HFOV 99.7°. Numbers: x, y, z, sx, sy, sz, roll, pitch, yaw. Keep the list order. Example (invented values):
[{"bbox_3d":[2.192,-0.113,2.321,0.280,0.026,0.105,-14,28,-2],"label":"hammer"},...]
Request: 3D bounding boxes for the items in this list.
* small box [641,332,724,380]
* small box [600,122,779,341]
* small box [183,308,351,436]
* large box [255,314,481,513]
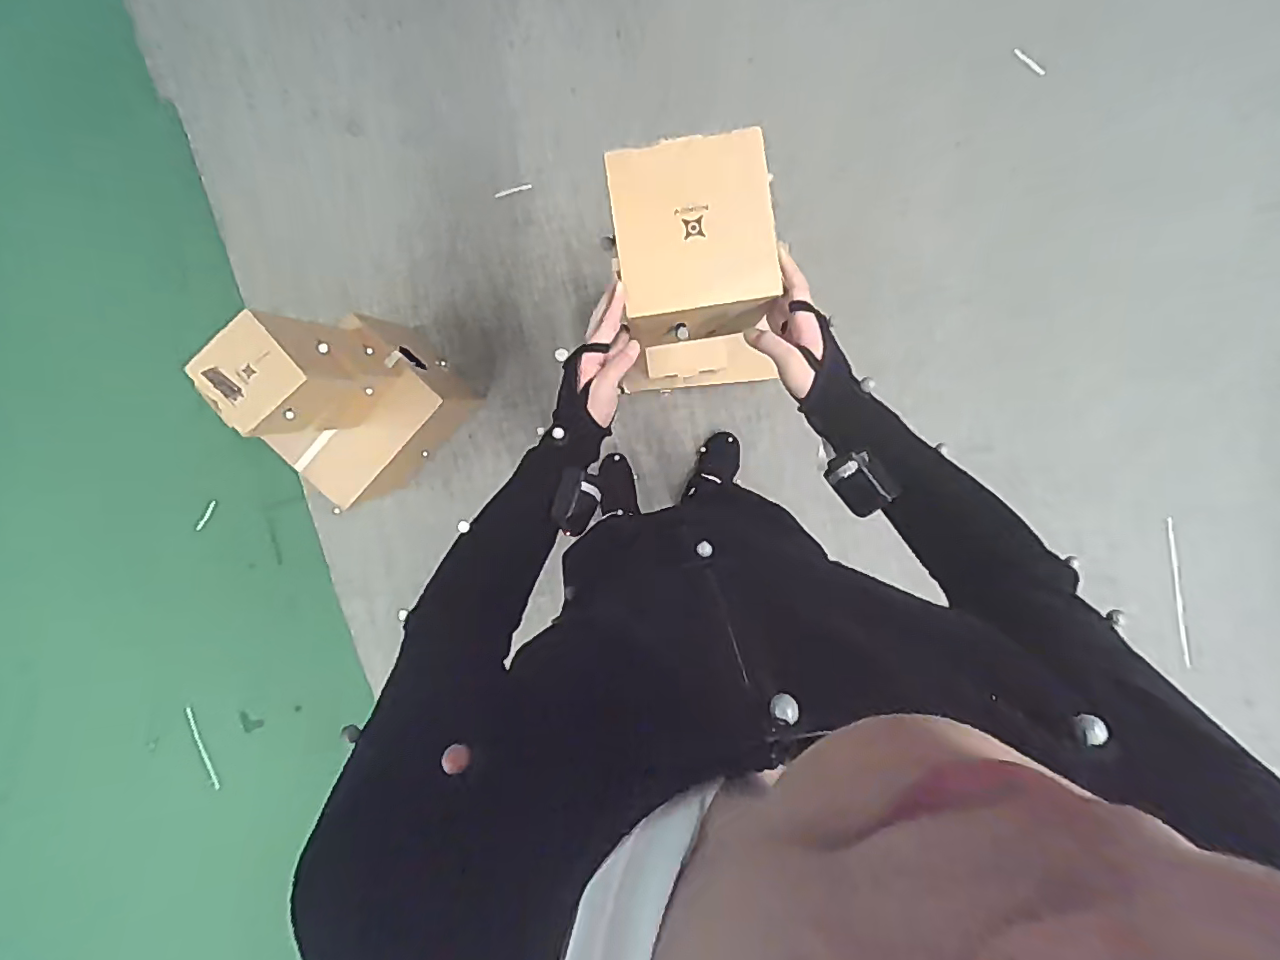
[{"bbox_3d":[0.087,-0.317,1.181,0.168,0.176,0.179,-7,100,3],"label":"small box"},{"bbox_3d":[0.055,-0.267,0.629,0.168,0.176,0.179,-9,92,2],"label":"small box"},{"bbox_3d":[-0.721,-0.206,1.066,0.179,0.176,0.168,-39,95,7],"label":"small box"},{"bbox_3d":[-0.718,-0.184,1.485,0.320,0.320,0.408,44,99,-3],"label":"large box"}]
